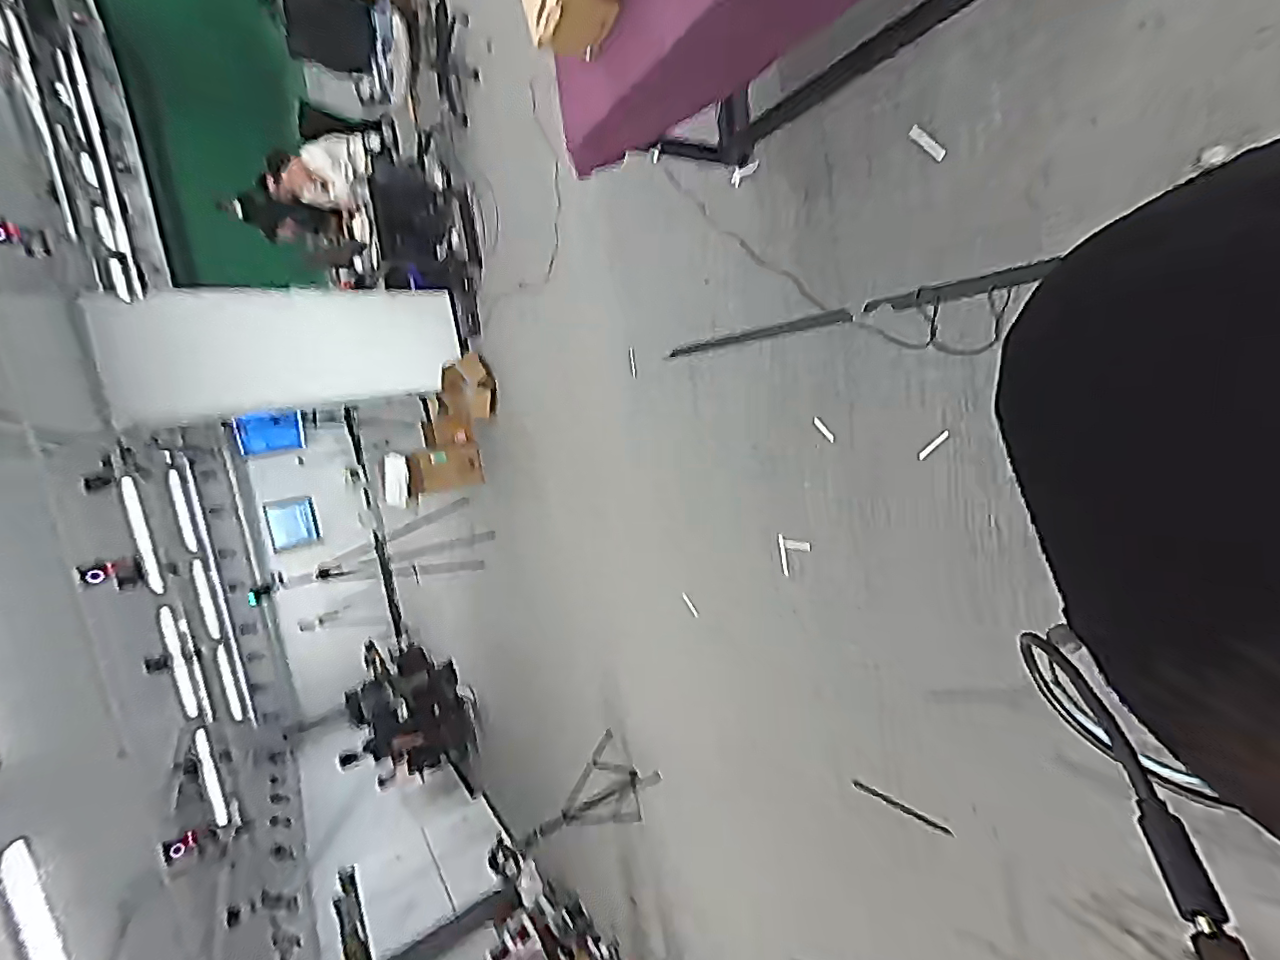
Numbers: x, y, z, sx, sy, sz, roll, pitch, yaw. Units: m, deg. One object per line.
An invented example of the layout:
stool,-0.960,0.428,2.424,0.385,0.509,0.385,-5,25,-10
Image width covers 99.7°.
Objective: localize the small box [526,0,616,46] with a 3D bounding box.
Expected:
small box,-0.179,-1.248,1.368,0.168,0.176,0.179,-17,87,56
